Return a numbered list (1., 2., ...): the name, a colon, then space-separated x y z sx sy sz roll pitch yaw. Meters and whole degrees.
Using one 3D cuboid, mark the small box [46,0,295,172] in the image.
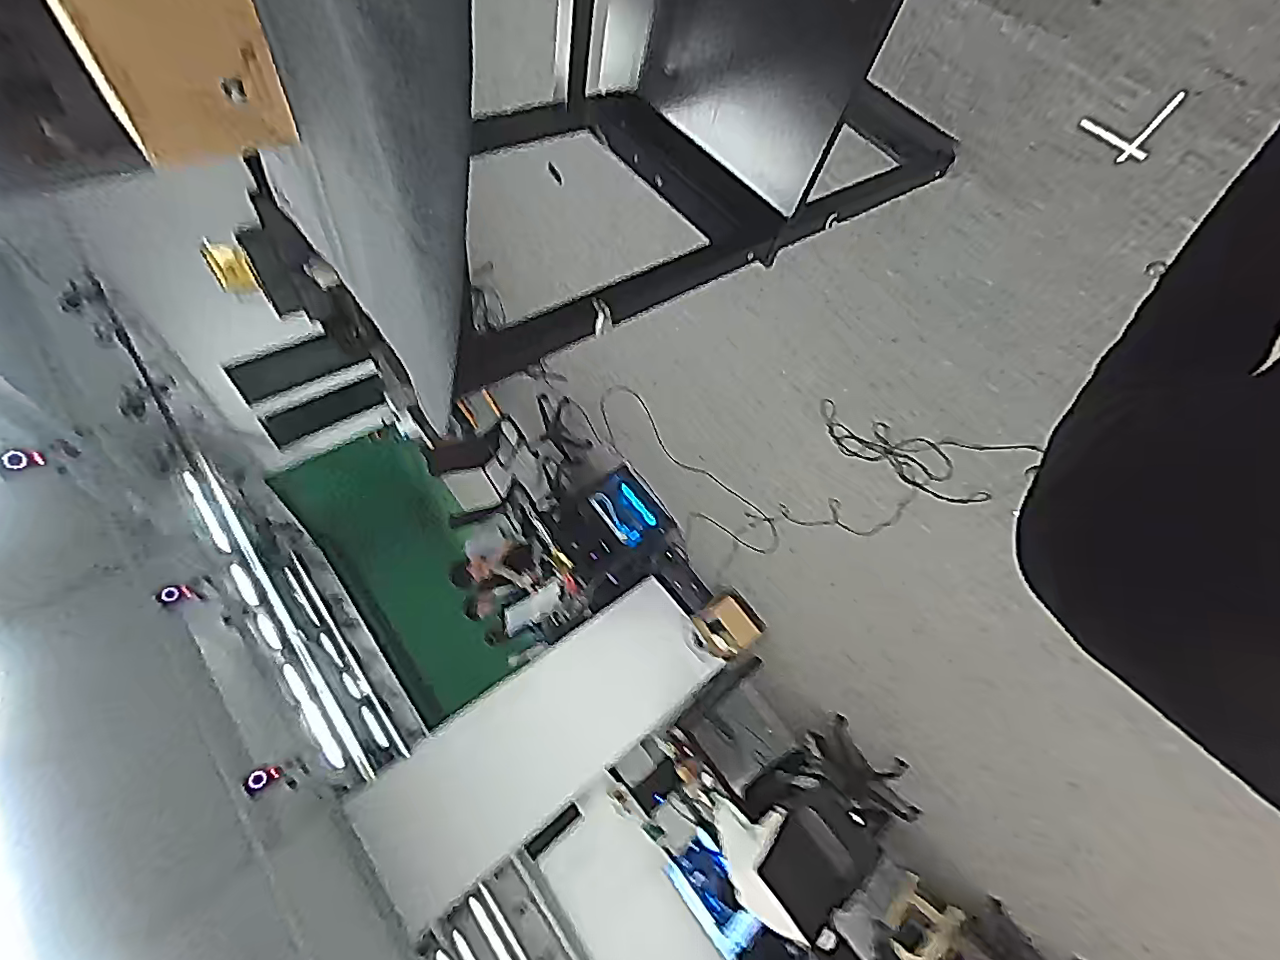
1. small box: -0.545 -0.499 0.629 0.179 0.176 0.168 47 152 18
